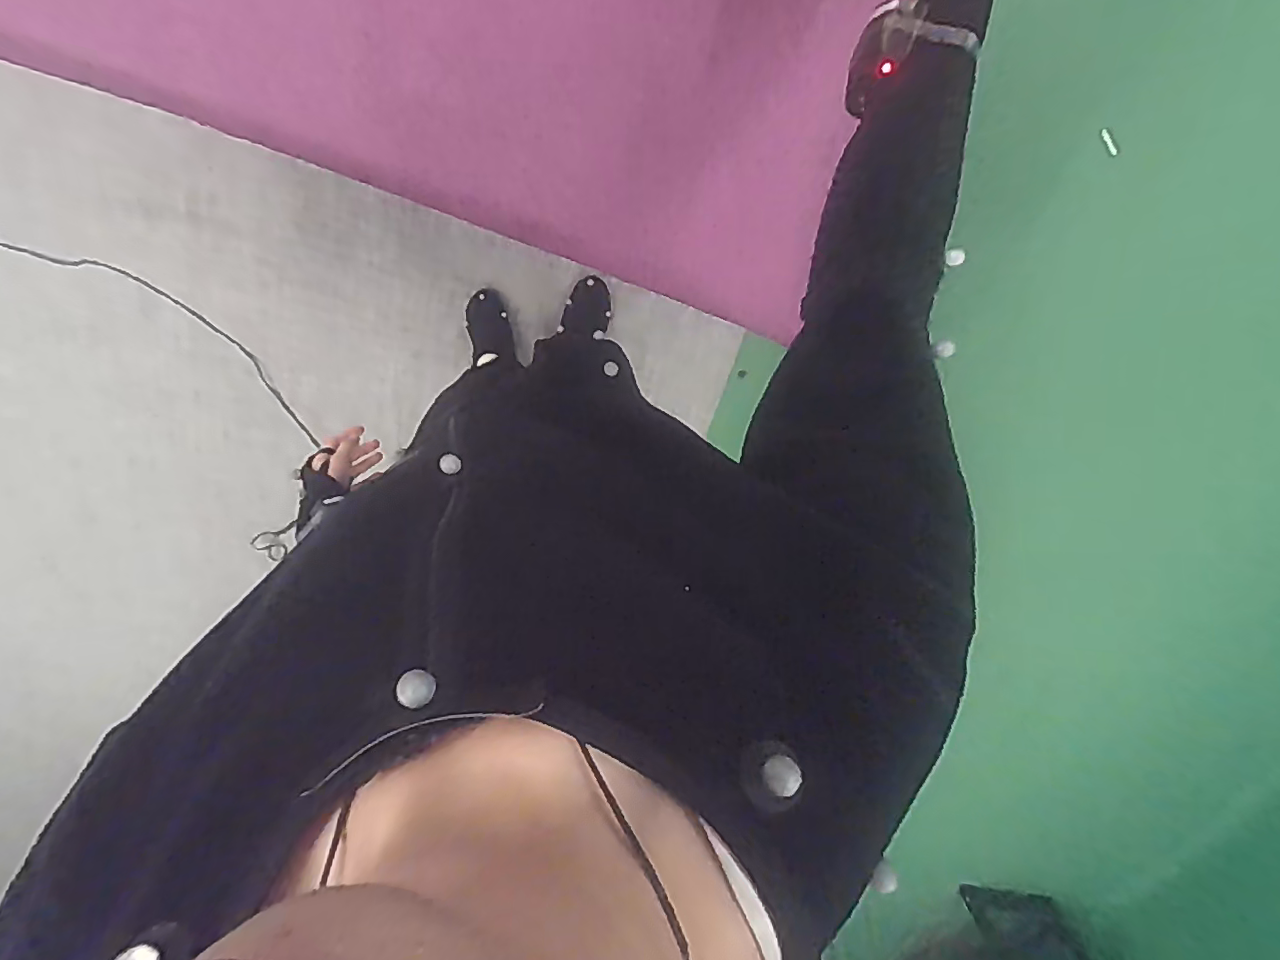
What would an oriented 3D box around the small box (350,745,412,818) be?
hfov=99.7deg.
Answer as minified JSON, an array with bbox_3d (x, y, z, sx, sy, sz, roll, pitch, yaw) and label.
[{"bbox_3d":[-0.936,1.090,1.956,0.168,0.176,0.179,12,115,-9],"label":"small box"}]

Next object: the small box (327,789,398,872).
[{"bbox_3d":[-0.925,1.169,1.810,0.168,0.176,0.179,12,115,-9],"label":"small box"}]
